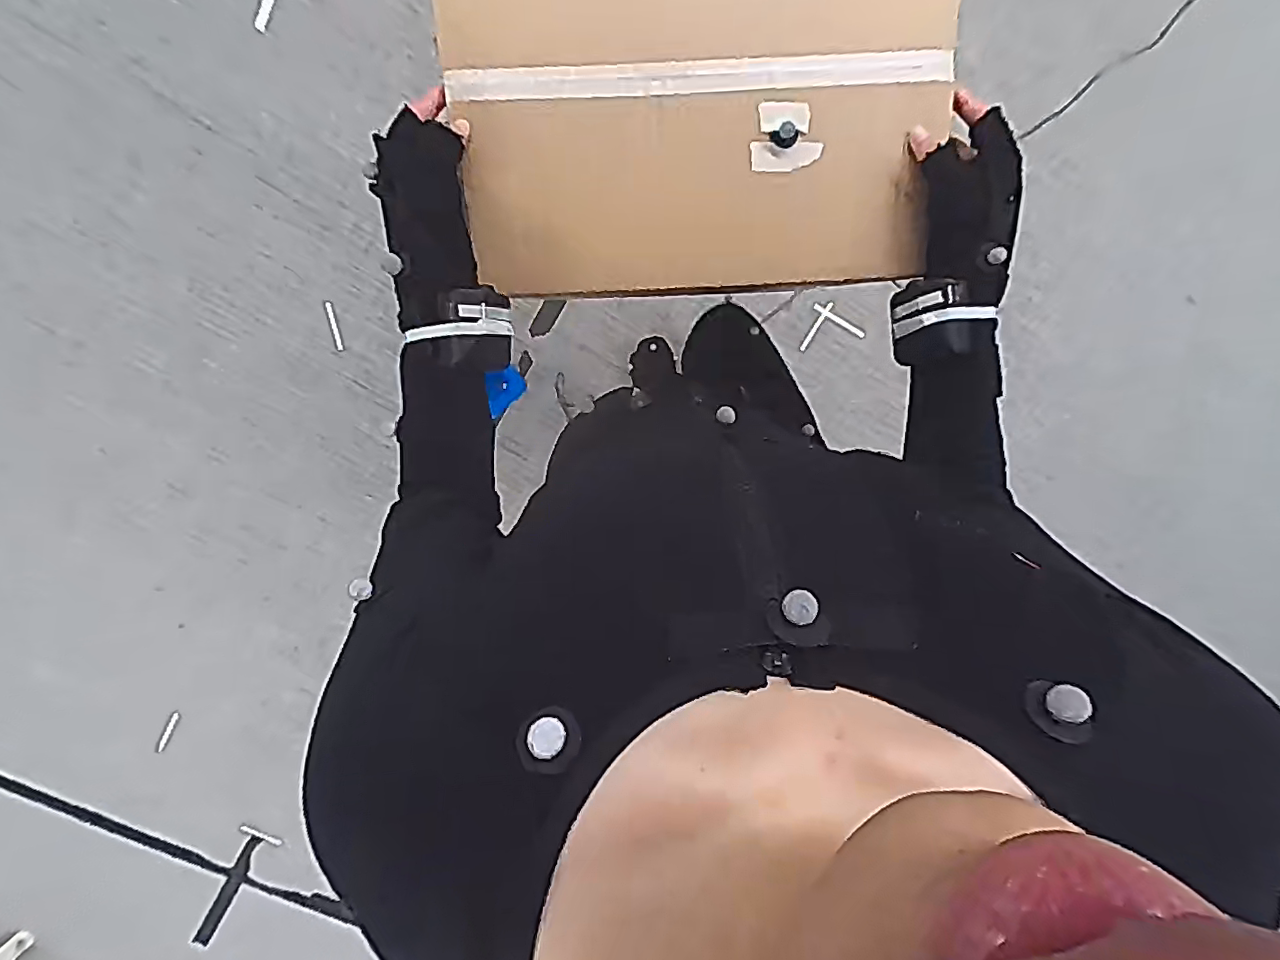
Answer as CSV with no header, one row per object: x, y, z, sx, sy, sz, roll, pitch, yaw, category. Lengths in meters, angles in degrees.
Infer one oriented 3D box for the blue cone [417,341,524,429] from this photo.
-0.424,-0.212,1.268,0.192,0.380,0.193,-38,100,8,blue cone

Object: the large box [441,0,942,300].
0.038,-0.374,0.584,0.408,0.320,0.320,-3,107,-1,large box
